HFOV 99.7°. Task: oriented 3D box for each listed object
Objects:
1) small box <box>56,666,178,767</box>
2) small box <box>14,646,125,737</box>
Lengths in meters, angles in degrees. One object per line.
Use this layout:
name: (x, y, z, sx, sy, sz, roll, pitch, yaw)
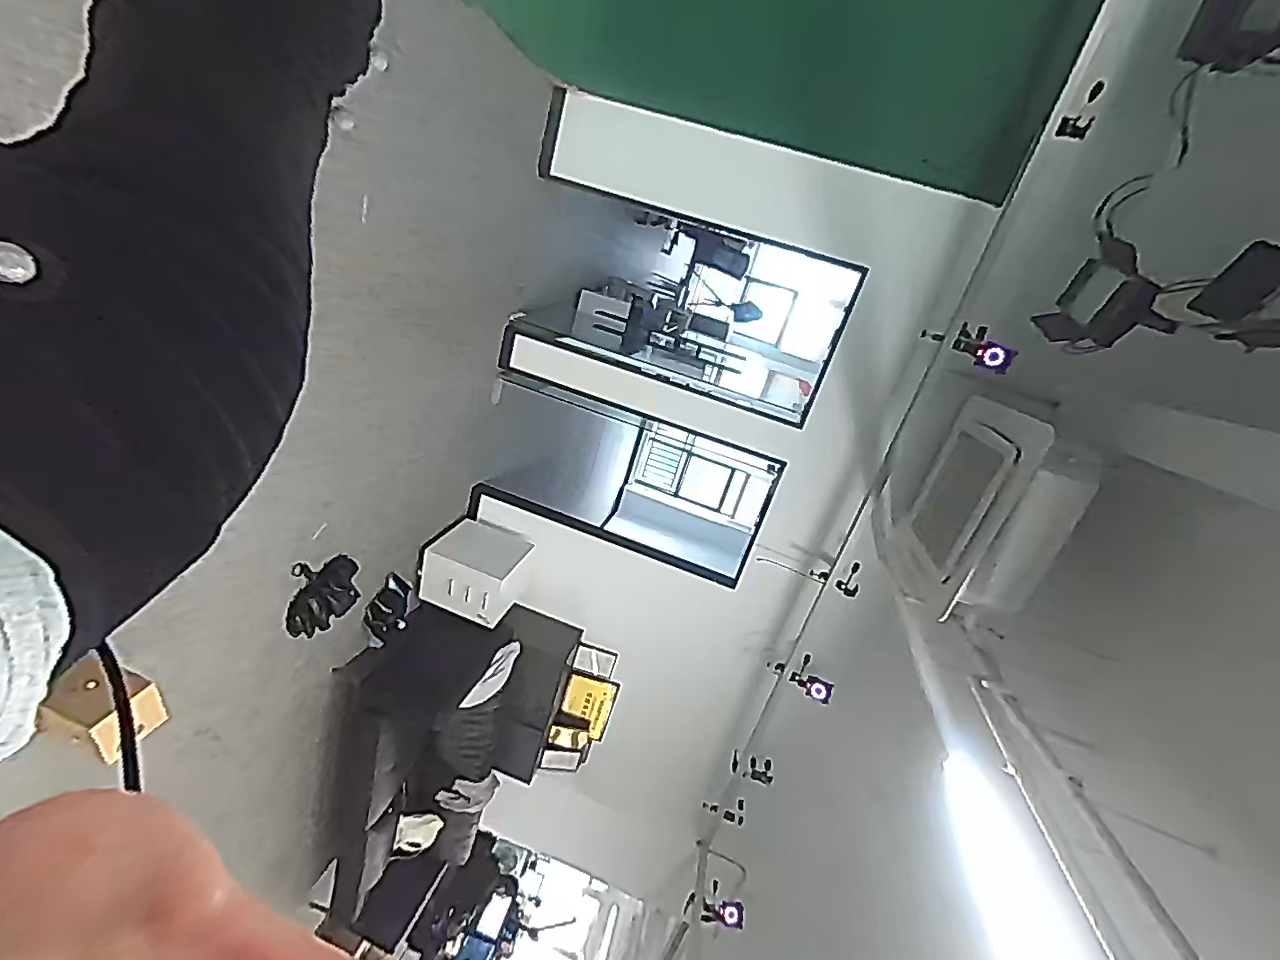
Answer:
small box: (-1.476, 0.663, 1.533, 0.168, 0.176, 0.179, -57, 164, -57)
small box: (-1.628, 0.606, 1.563, 0.168, 0.176, 0.179, -57, 166, -56)
